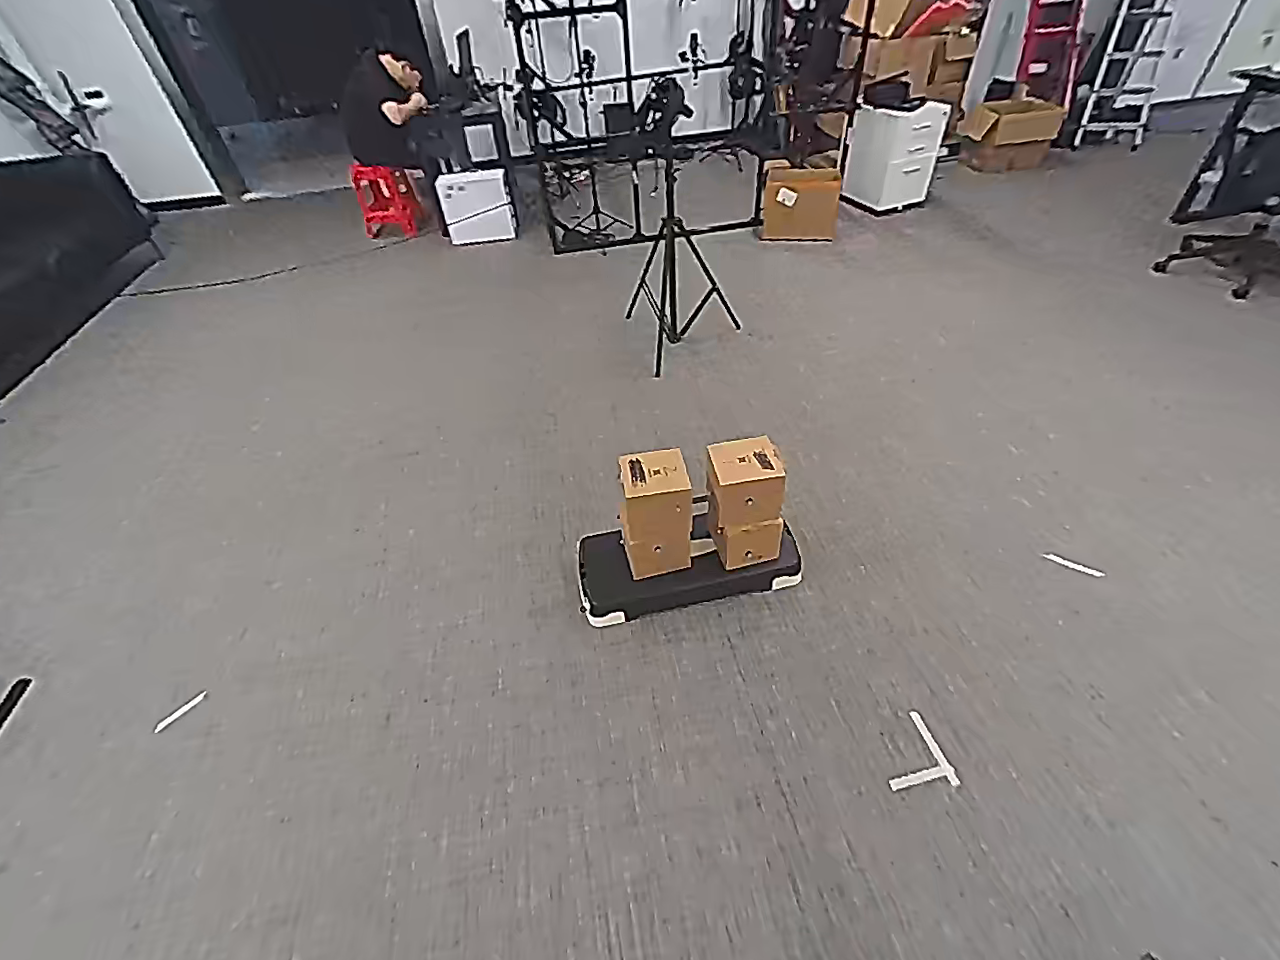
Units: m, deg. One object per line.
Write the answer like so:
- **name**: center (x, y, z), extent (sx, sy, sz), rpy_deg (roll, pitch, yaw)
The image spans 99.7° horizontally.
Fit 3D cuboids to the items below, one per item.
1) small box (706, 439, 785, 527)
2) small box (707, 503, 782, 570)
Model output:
- **small box**: center (0.284, 0.011, 1.500), extent (0.179, 0.176, 0.168), rpy_deg (-9, 44, -2)
- **small box**: center (0.302, 0.138, 1.604), extent (0.168, 0.176, 0.179), rpy_deg (-12, 45, -7)
